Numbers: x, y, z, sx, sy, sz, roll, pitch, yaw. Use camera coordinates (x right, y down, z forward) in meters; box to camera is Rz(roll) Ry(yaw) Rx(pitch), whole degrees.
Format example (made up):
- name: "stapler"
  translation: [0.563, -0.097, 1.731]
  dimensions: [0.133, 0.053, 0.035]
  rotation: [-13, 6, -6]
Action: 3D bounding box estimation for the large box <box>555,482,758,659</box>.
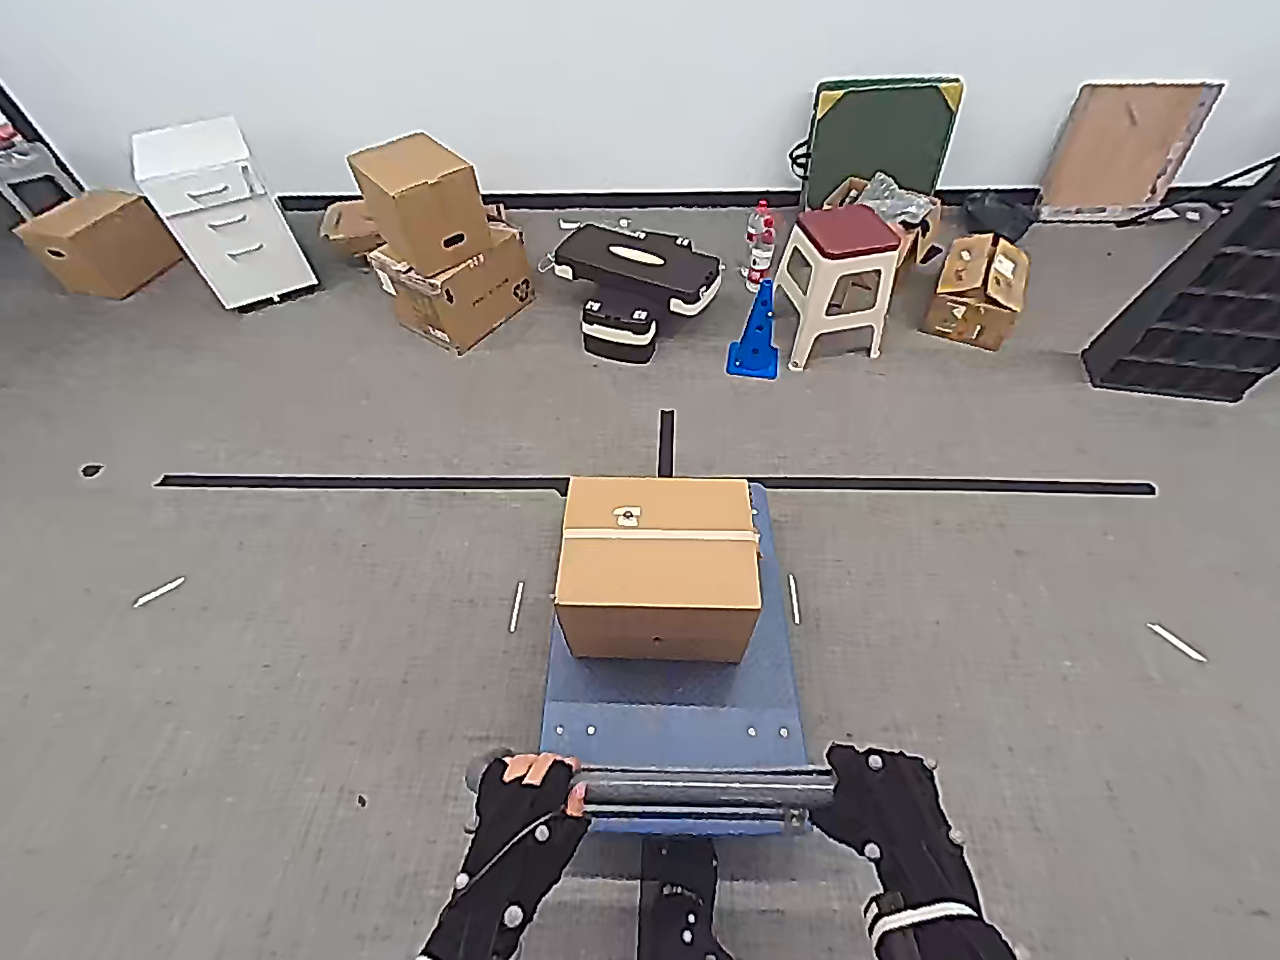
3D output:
- name: "large box"
  translation: [0.040, 0.217, 1.257]
  dimensions: [0.408, 0.320, 0.320]
  rotation: [1, 53, 2]
